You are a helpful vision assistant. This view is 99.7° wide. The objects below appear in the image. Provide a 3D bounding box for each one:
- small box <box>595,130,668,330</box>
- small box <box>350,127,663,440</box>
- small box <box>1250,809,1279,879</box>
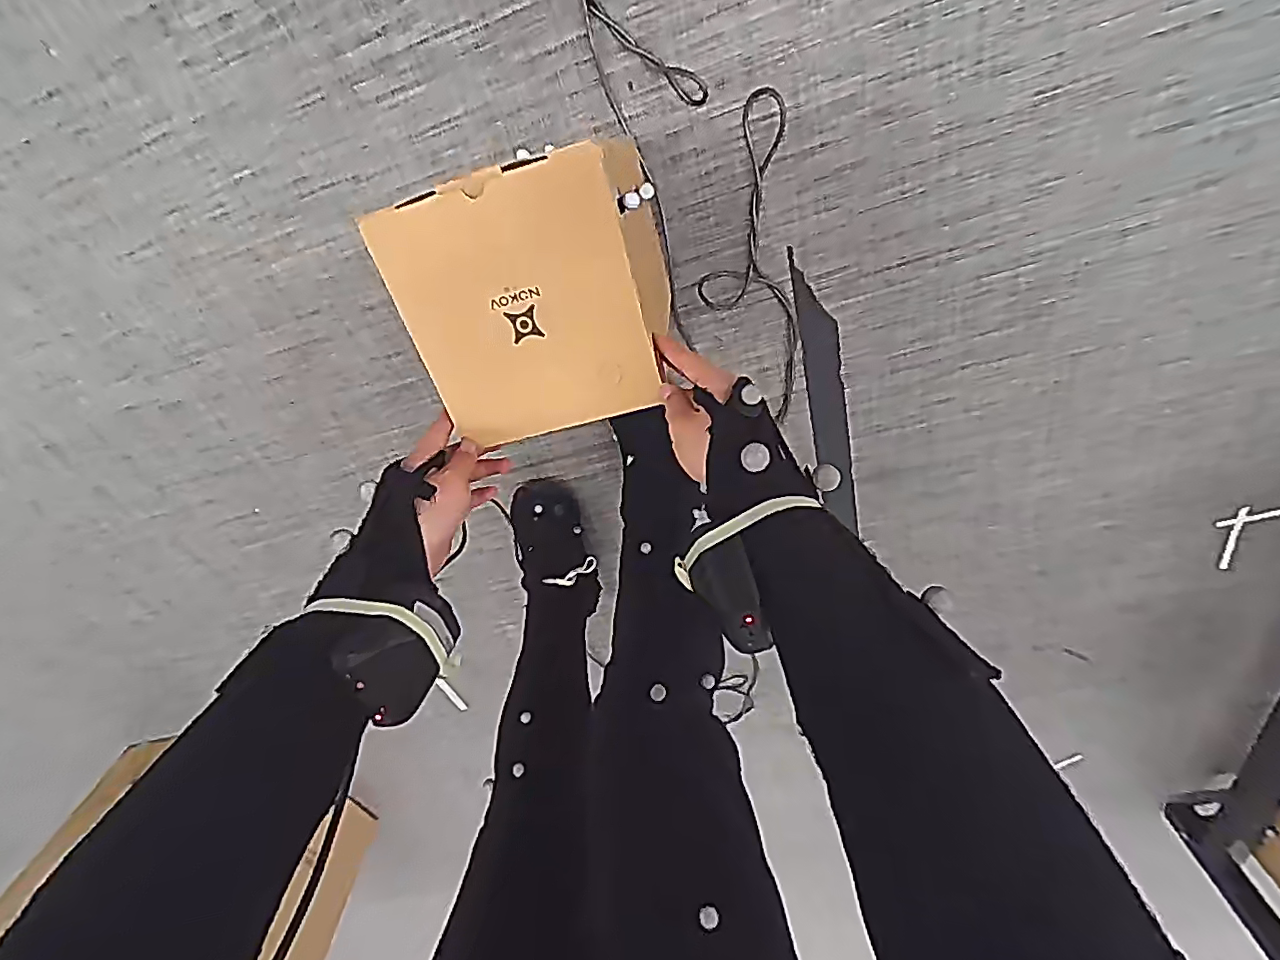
[{"bbox_3d":[-0.069,-0.250,0.576,0.168,0.176,0.179,-11,123,12],"label":"small box"},{"bbox_3d":[-0.079,-0.159,0.434,0.168,0.176,0.179,-13,119,10],"label":"small box"},{"bbox_3d":[1.397,0.761,1.072,0.179,0.176,0.168,-13,122,10],"label":"small box"}]
